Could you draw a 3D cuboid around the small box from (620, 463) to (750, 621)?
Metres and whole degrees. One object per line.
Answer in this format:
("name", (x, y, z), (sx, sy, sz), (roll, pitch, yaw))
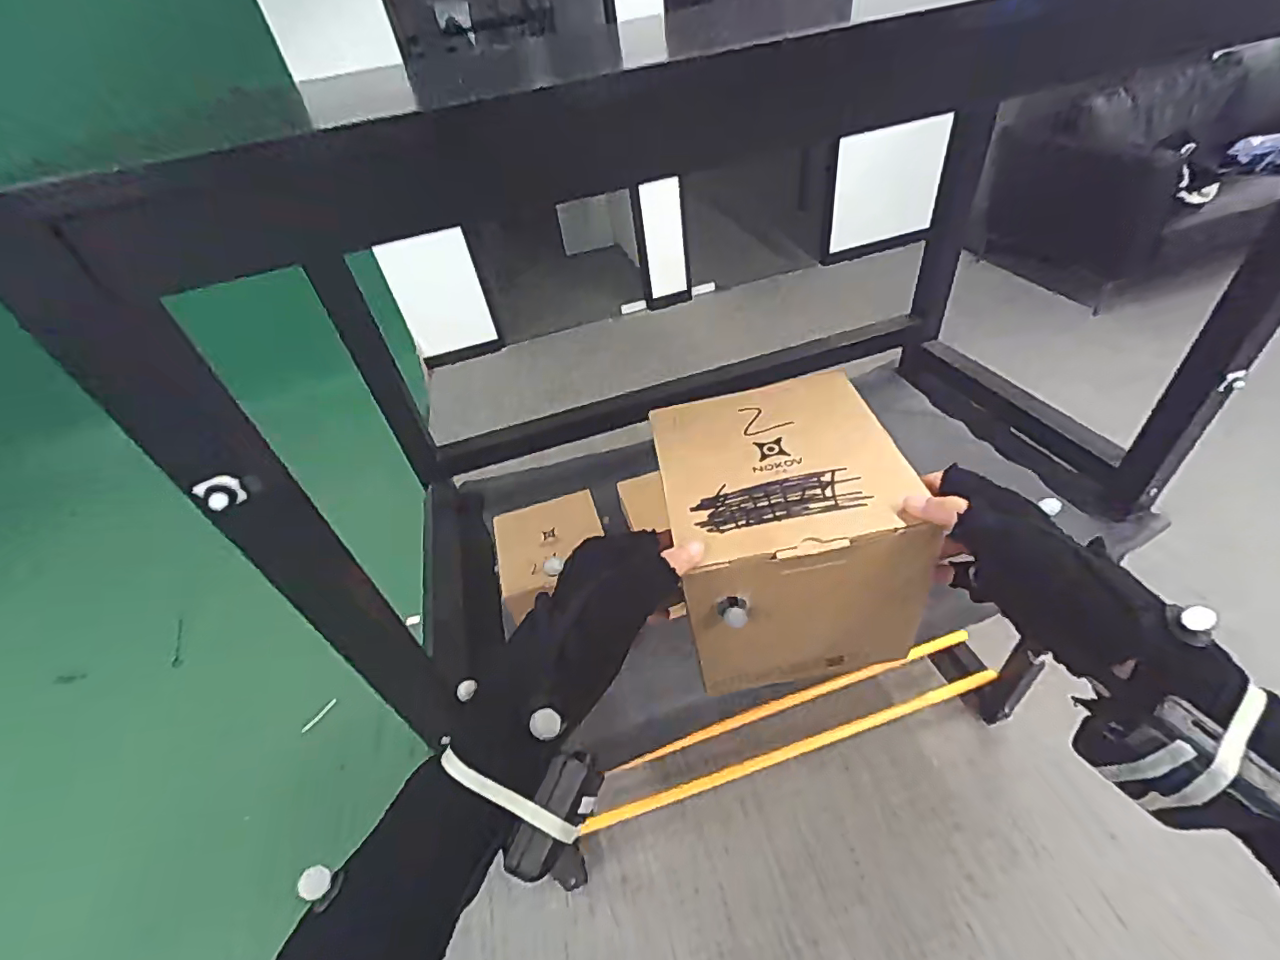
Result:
("small box", (0.073, 0.103, 0.908), (0.168, 0.176, 0.179), (-16, 42, -7))

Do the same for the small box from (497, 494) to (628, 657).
("small box", (-0.127, 0.155, 0.886), (0.168, 0.176, 0.179), (-16, 42, -7))
